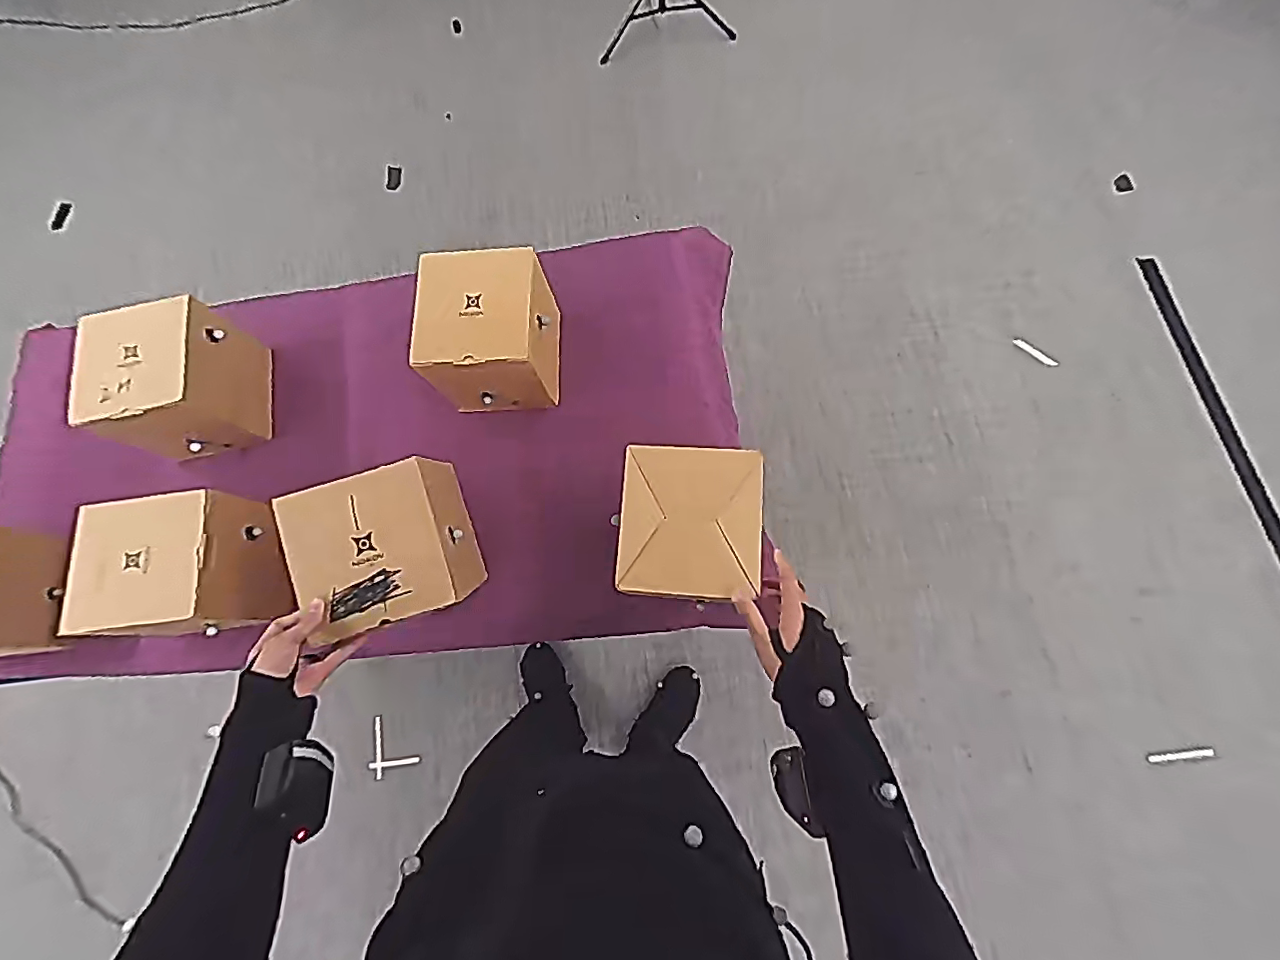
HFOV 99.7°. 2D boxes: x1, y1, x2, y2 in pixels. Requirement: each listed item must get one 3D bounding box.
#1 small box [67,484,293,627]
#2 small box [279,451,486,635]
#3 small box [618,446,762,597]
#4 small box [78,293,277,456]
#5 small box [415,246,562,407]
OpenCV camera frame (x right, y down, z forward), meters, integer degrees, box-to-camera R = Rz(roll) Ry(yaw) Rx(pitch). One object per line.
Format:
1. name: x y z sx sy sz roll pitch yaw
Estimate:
1. small box: -0.619 0.113 0.757 0.179 0.176 0.168 -7 73 2
2. small box: -0.312 0.072 0.694 0.168 0.176 0.179 -17 89 -6
3. small box: 0.067 0.058 0.707 0.168 0.176 0.179 3 76 7
4. small box: -0.701 -0.156 0.842 0.168 0.176 0.179 -11 74 2
5. small box: -0.218 -0.225 0.823 0.168 0.176 0.179 -2 75 5
